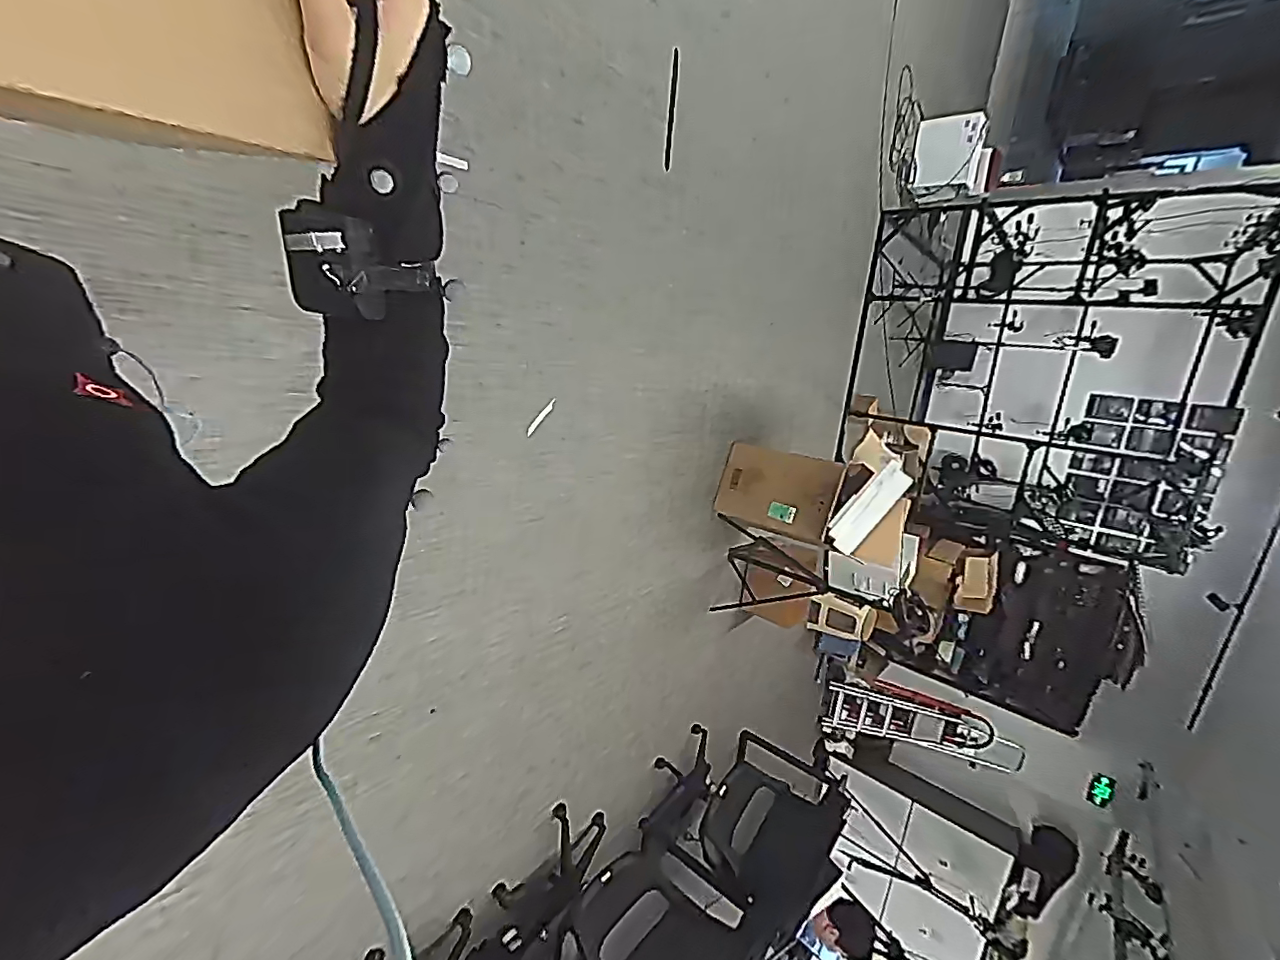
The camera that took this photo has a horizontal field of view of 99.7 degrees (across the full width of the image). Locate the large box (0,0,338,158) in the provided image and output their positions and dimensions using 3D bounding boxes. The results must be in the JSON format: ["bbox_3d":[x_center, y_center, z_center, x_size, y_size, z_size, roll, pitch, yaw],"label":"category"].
[{"bbox_3d":[-0.393,-0.331,0.185,0.408,0.320,0.320,-21,128,-51],"label":"large box"}]
